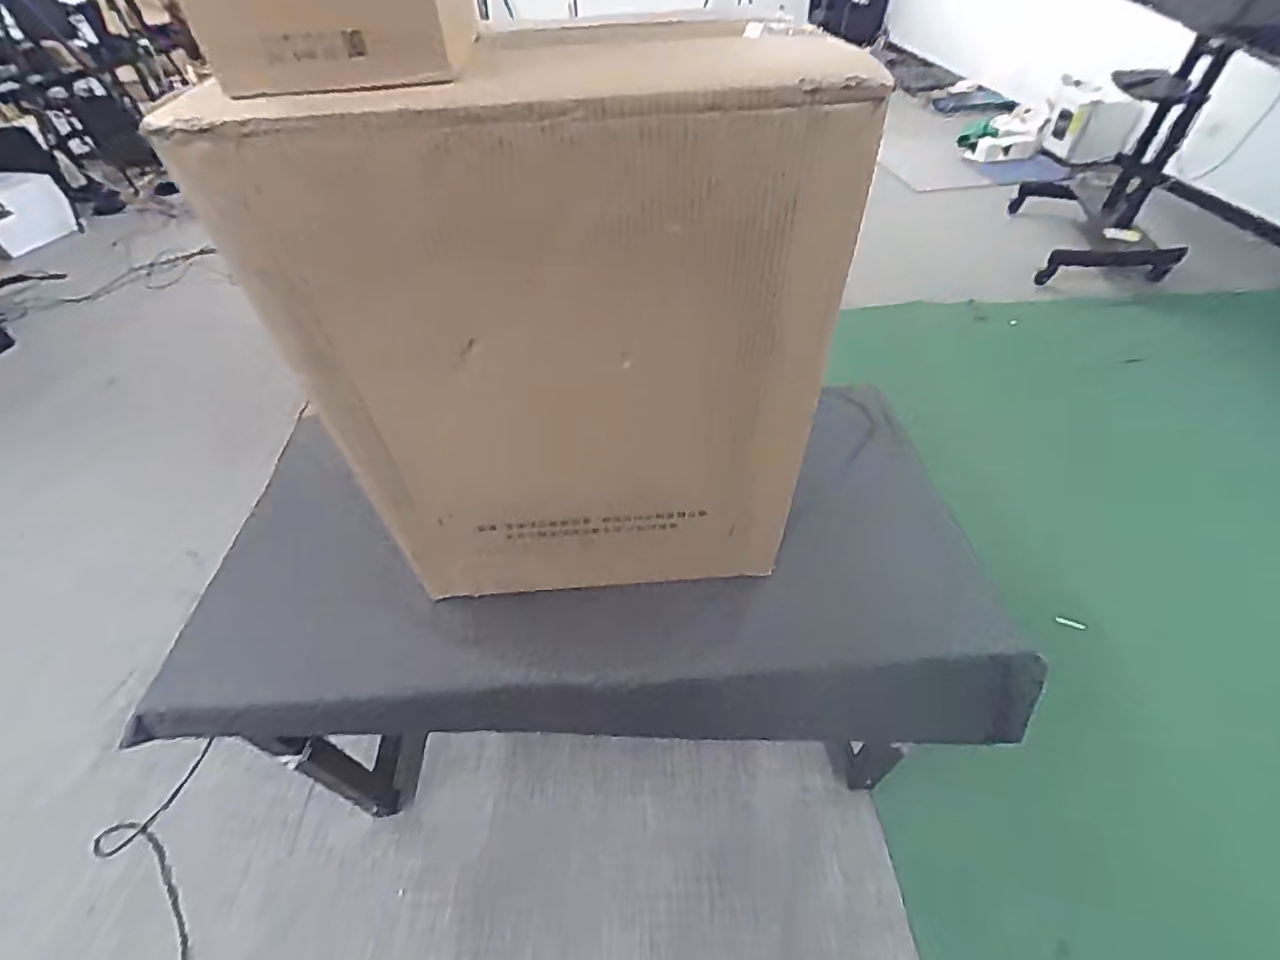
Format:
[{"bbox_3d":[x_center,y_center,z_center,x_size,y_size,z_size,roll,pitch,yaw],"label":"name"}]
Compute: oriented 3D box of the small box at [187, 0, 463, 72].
[{"bbox_3d":[-0.233,-0.408,0.378,0.168,0.176,0.179,-8,51,-3],"label":"small box"}]
